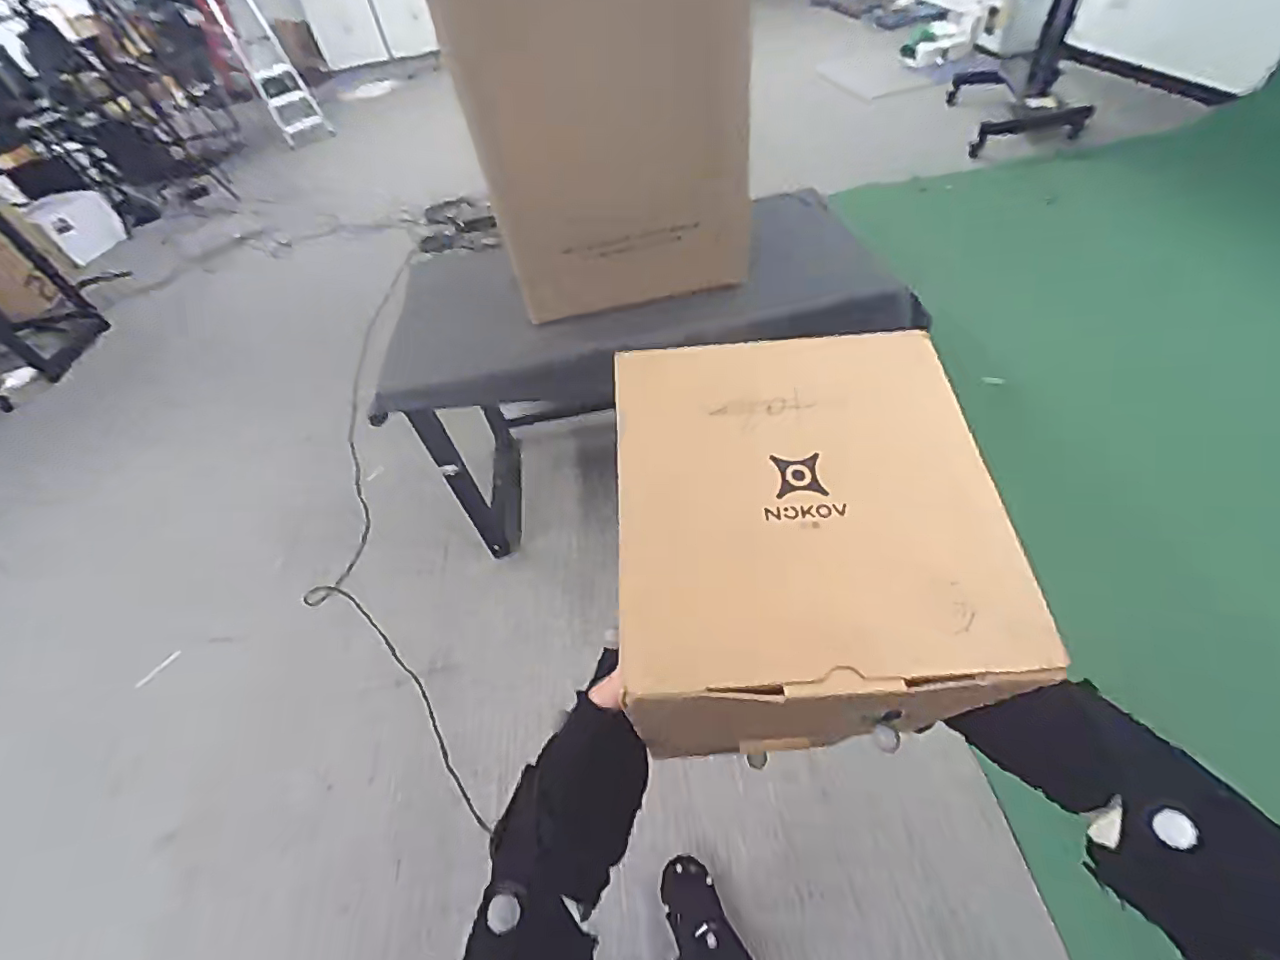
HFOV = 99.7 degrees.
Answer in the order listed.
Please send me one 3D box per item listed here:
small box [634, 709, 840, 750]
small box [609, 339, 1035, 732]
[{"bbox_3d":[0.076,0.126,0.460,0.168,0.176,0.179,-6,58,0],"label":"small box"},{"bbox_3d":[0.072,0.044,0.319,0.168,0.176,0.179,-4,57,0],"label":"small box"}]
